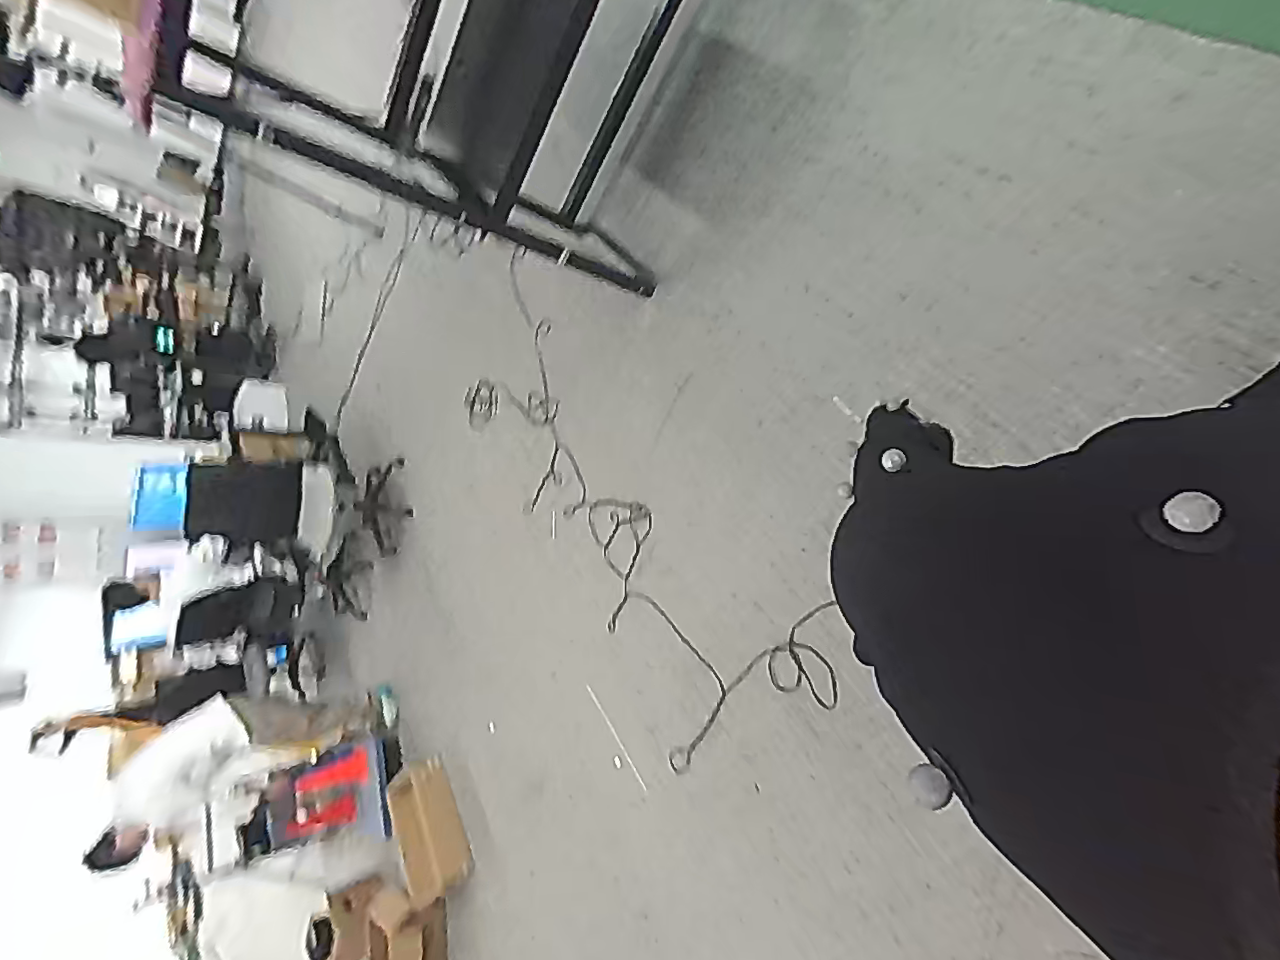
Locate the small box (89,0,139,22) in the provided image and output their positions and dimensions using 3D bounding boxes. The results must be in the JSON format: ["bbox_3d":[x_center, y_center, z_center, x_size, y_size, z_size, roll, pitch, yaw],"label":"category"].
[{"bbox_3d":[-0.959,-0.922,0.916,0.179,0.176,0.168,39,113,36],"label":"small box"}]
